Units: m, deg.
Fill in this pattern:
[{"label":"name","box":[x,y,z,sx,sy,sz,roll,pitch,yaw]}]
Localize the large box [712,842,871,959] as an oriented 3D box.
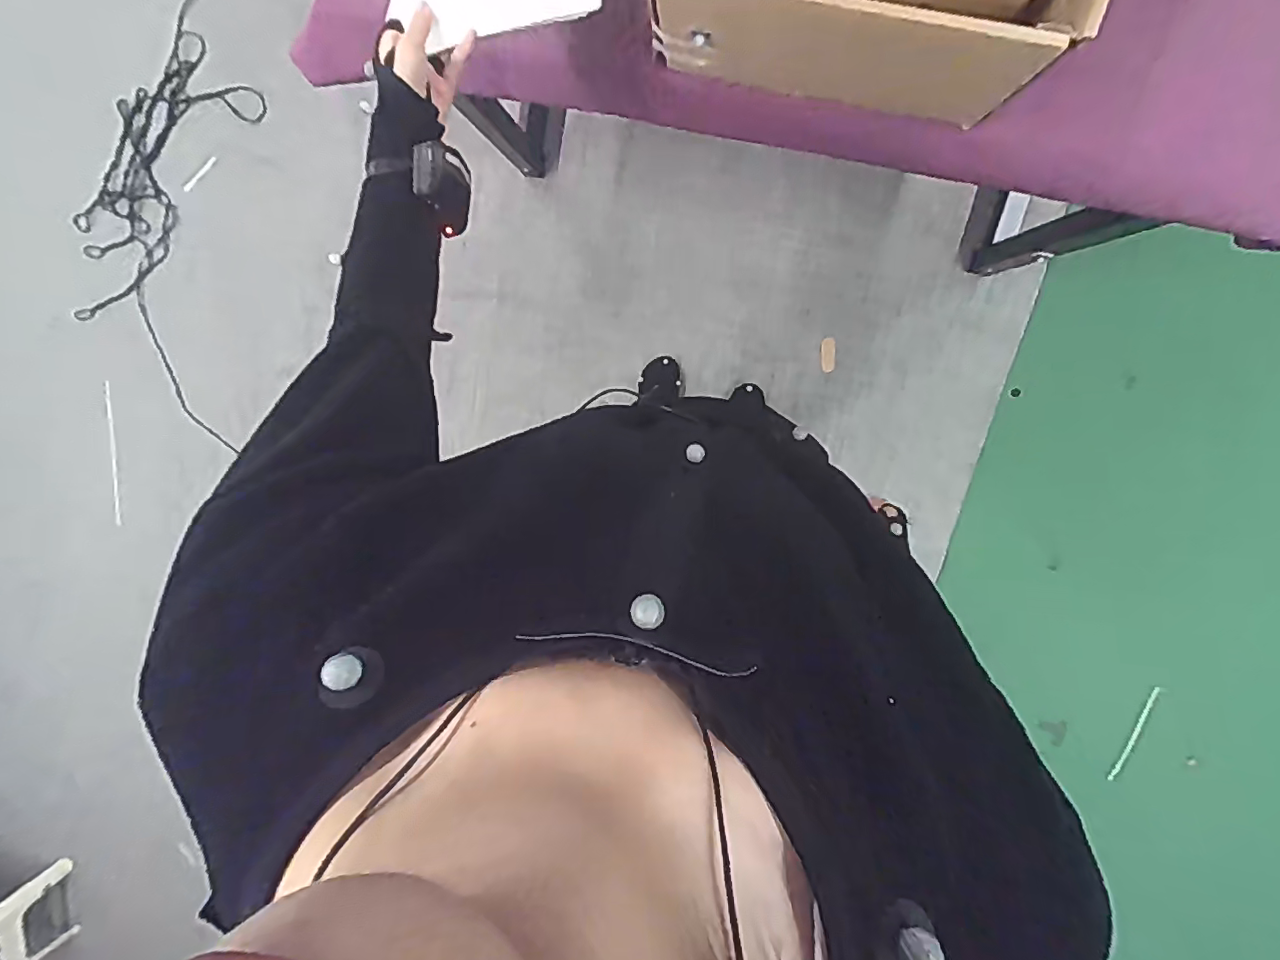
[{"label":"large box","box":[0.427,1.335,1.605,0.408,0.320,0.320,-2,103,6]}]
